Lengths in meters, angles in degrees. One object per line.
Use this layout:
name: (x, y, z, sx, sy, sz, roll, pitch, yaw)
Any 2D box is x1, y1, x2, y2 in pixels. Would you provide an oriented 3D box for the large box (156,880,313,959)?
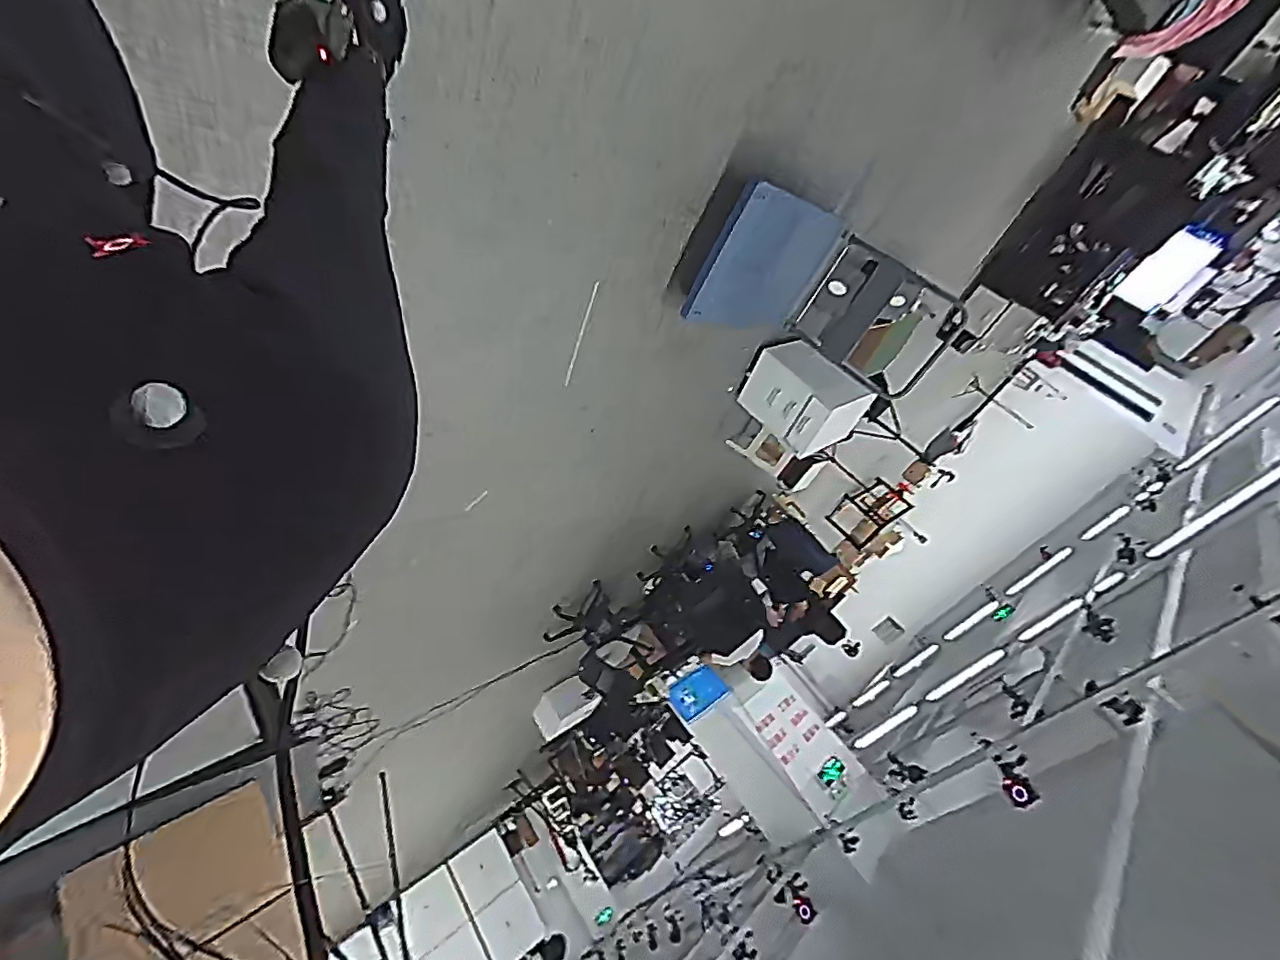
large box: (-1.019, 1.272, 1.282, 0.408, 0.320, 0.320, -19, 147, -43)
